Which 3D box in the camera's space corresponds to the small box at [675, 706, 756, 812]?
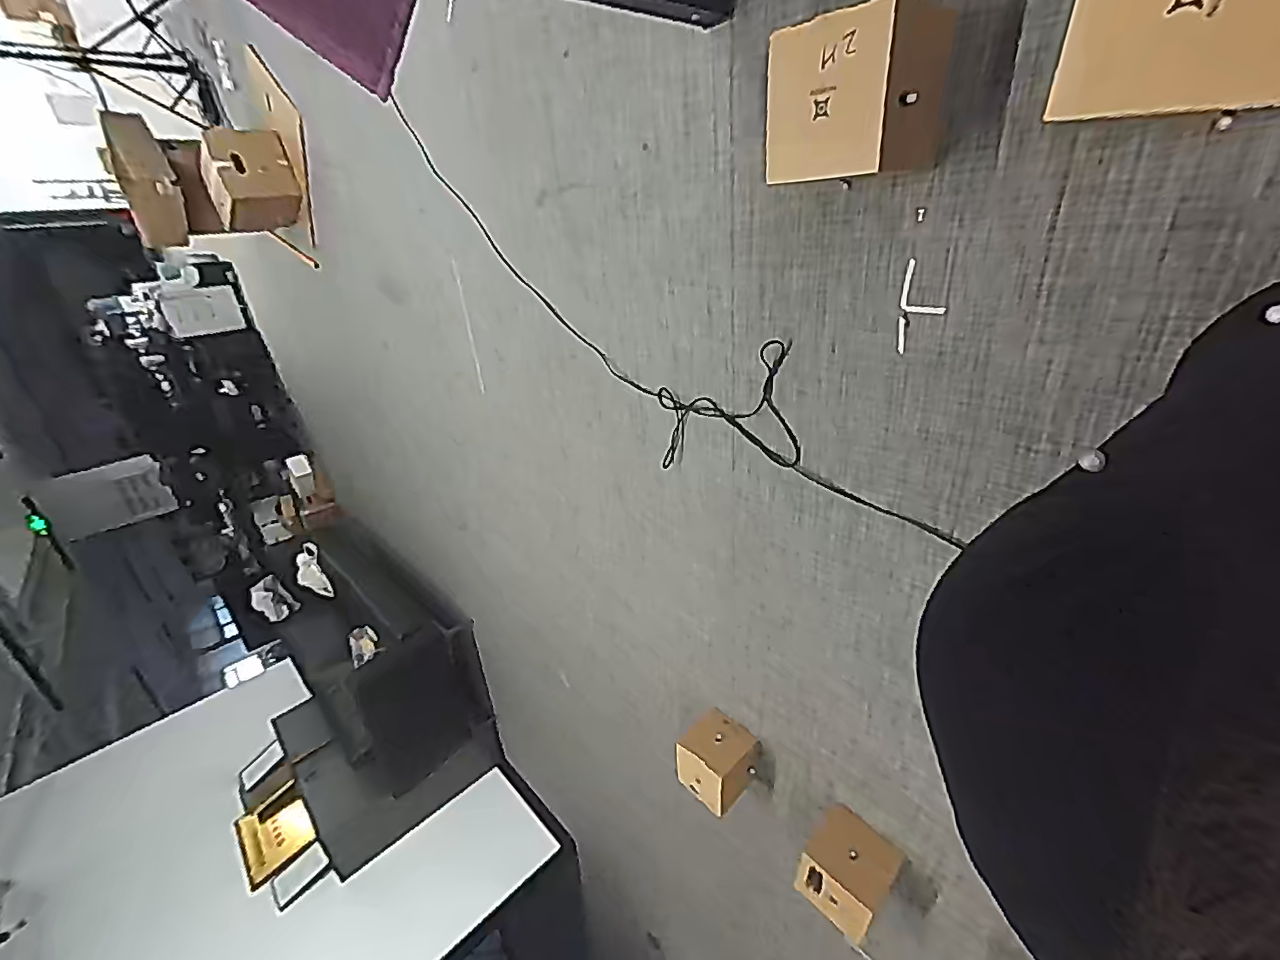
[{"bbox_3d":[0.220,0.801,1.571,0.168,0.176,0.179,25,127,42],"label":"small box"}]
